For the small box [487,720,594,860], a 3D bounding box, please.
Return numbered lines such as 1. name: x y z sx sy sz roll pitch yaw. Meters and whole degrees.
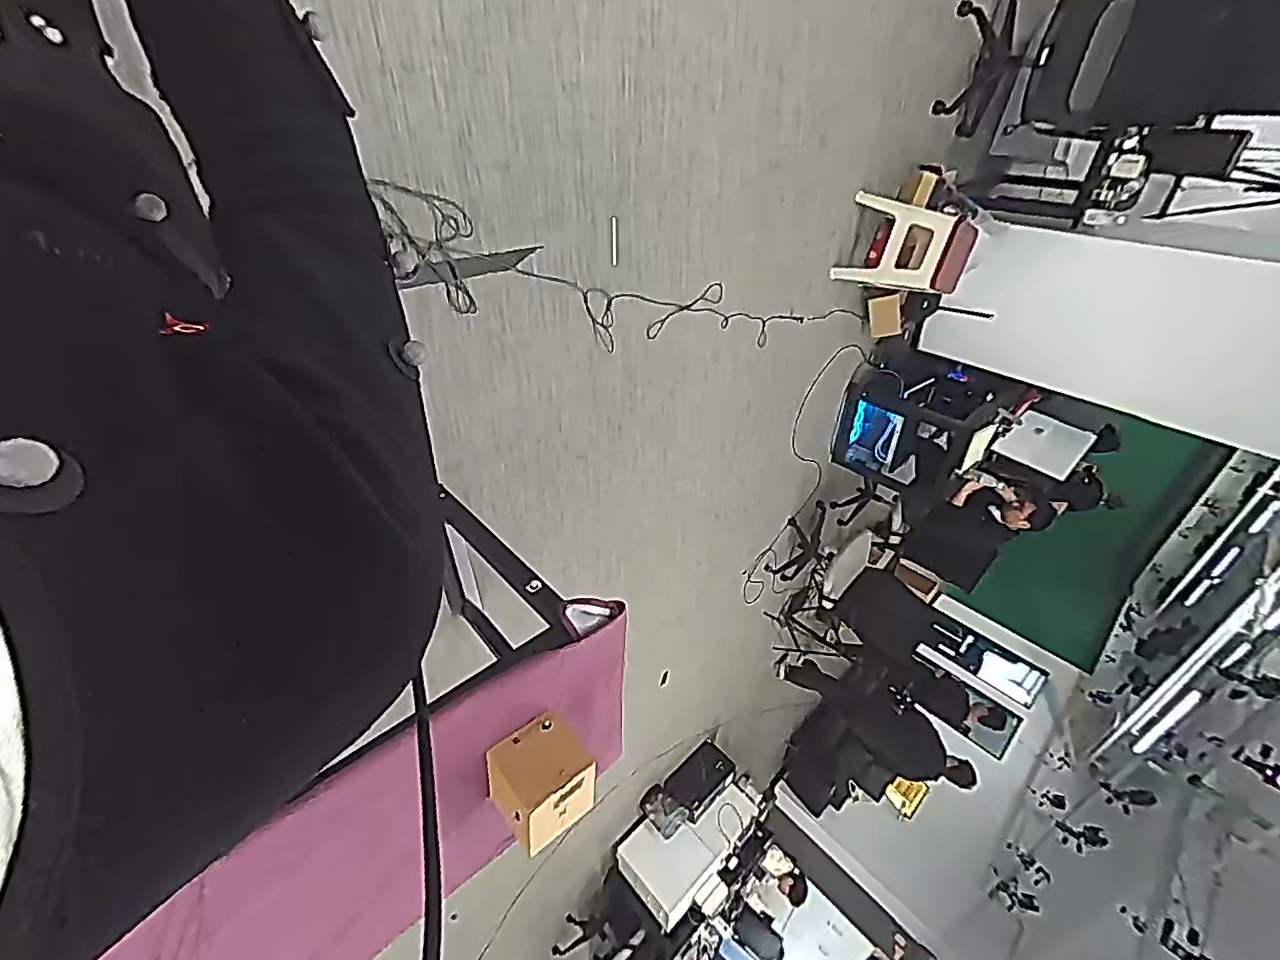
1. small box: -0.218 0.655 1.169 0.168 0.176 0.179 -21 130 -38
